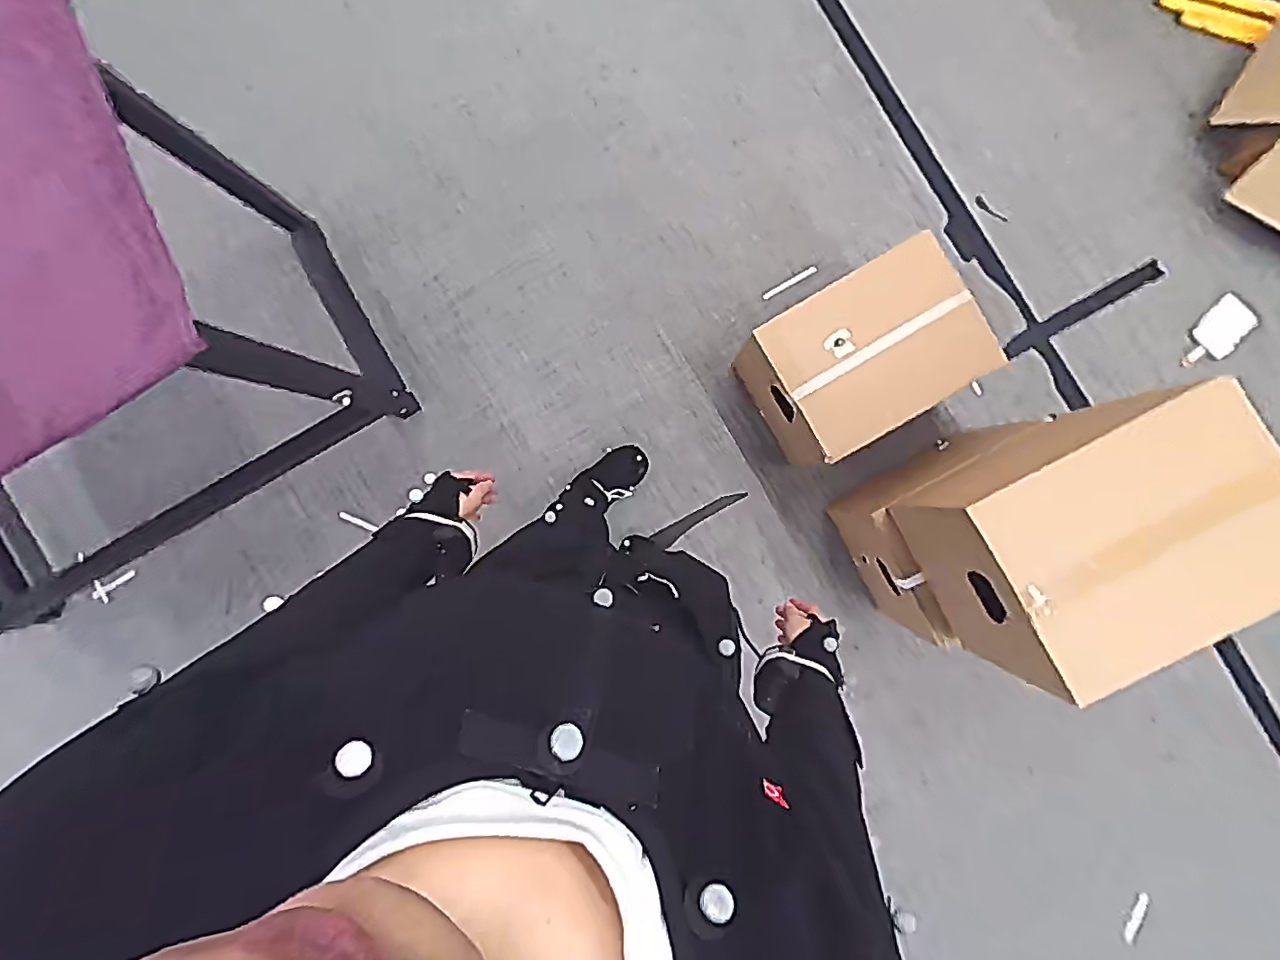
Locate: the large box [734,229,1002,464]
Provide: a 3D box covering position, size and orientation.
[{"bbox_3d":[0.474,-0.267,1.216,0.408,0.320,0.320,-31,88,3],"label":"large box"}]
